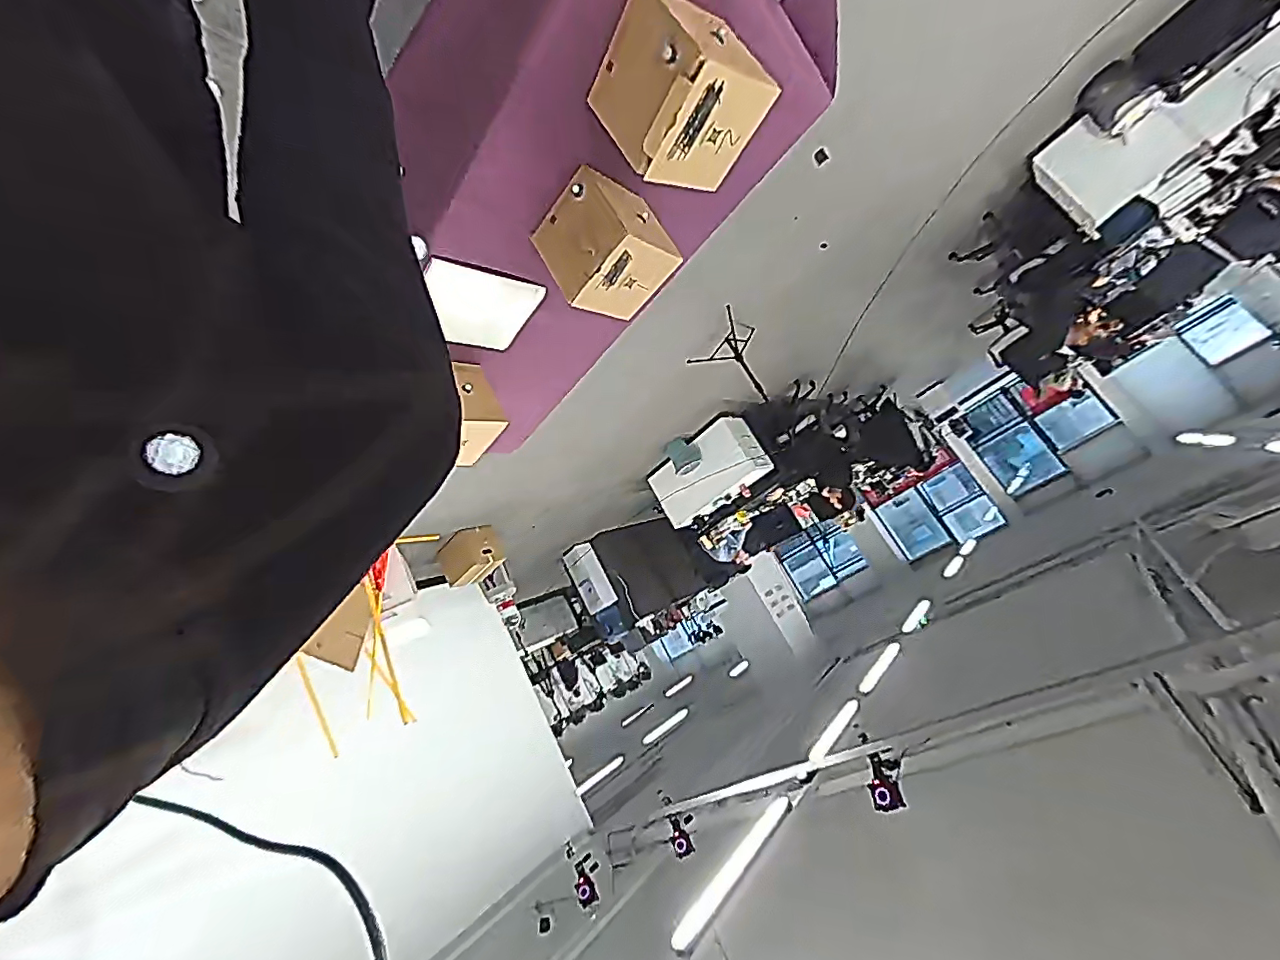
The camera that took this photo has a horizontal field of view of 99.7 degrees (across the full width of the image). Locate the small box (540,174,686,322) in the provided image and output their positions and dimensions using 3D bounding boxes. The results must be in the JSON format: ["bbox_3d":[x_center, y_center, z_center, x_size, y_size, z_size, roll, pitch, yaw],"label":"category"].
[{"bbox_3d":[-0.054,-0.425,1.000,0.168,0.176,0.179,-39,162,32],"label":"small box"}]

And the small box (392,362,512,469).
[{"bbox_3d":[-0.427,-0.144,1.212,0.179,0.176,0.168,-39,161,31],"label":"small box"}]
